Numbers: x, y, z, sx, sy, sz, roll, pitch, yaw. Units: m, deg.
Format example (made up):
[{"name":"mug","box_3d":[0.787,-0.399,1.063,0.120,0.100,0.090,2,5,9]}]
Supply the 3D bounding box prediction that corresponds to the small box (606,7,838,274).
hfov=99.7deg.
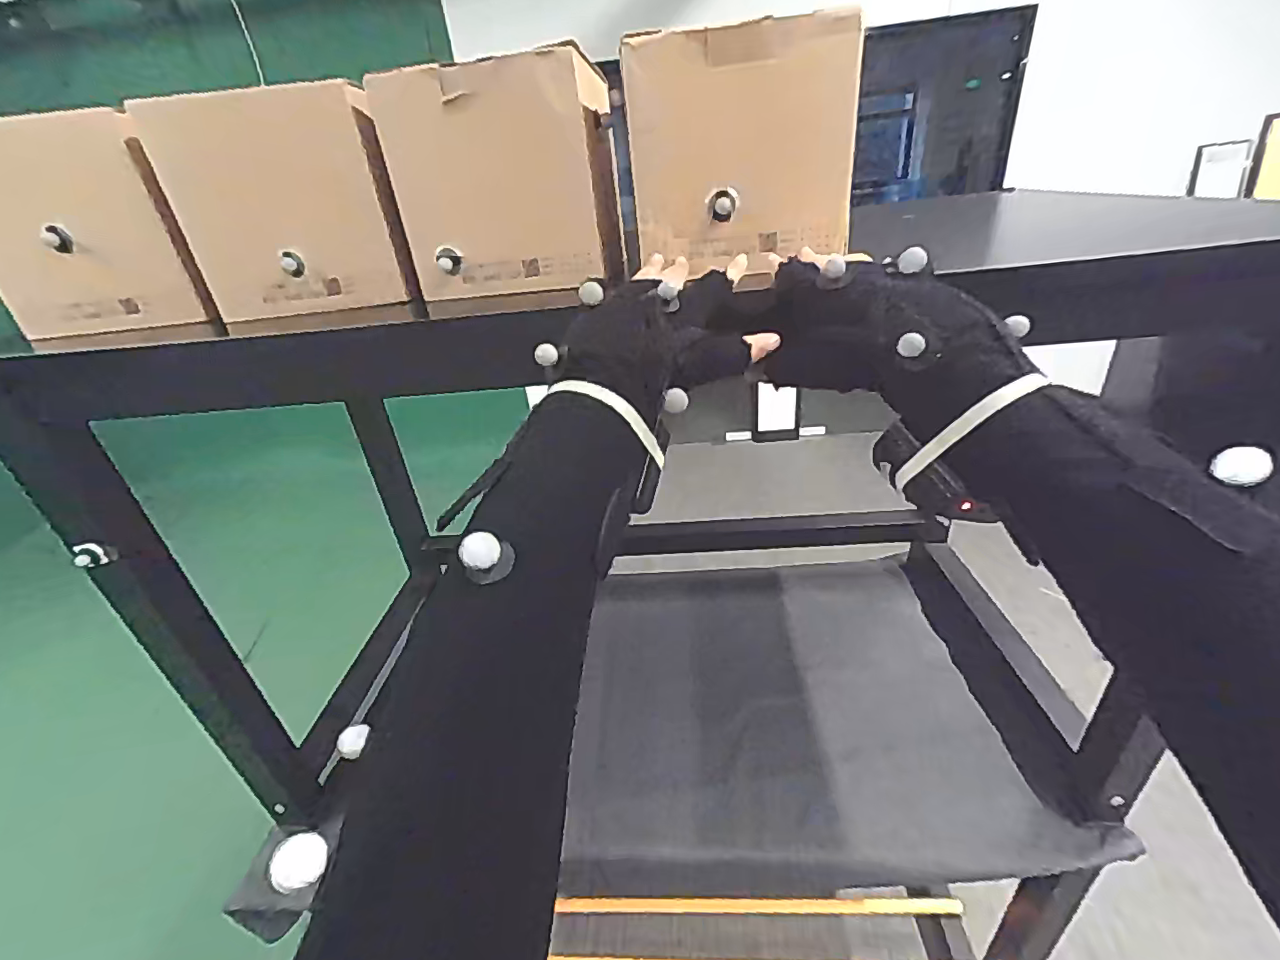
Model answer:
[{"name":"small box","box_3d":[0.068,-0.288,0.490,0.168,0.176,0.179,-3,29,6]}]

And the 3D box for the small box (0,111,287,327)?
[{"name":"small box","box_3d":[-0.502,-0.256,0.549,0.168,0.176,0.179,-6,28,-1]}]
